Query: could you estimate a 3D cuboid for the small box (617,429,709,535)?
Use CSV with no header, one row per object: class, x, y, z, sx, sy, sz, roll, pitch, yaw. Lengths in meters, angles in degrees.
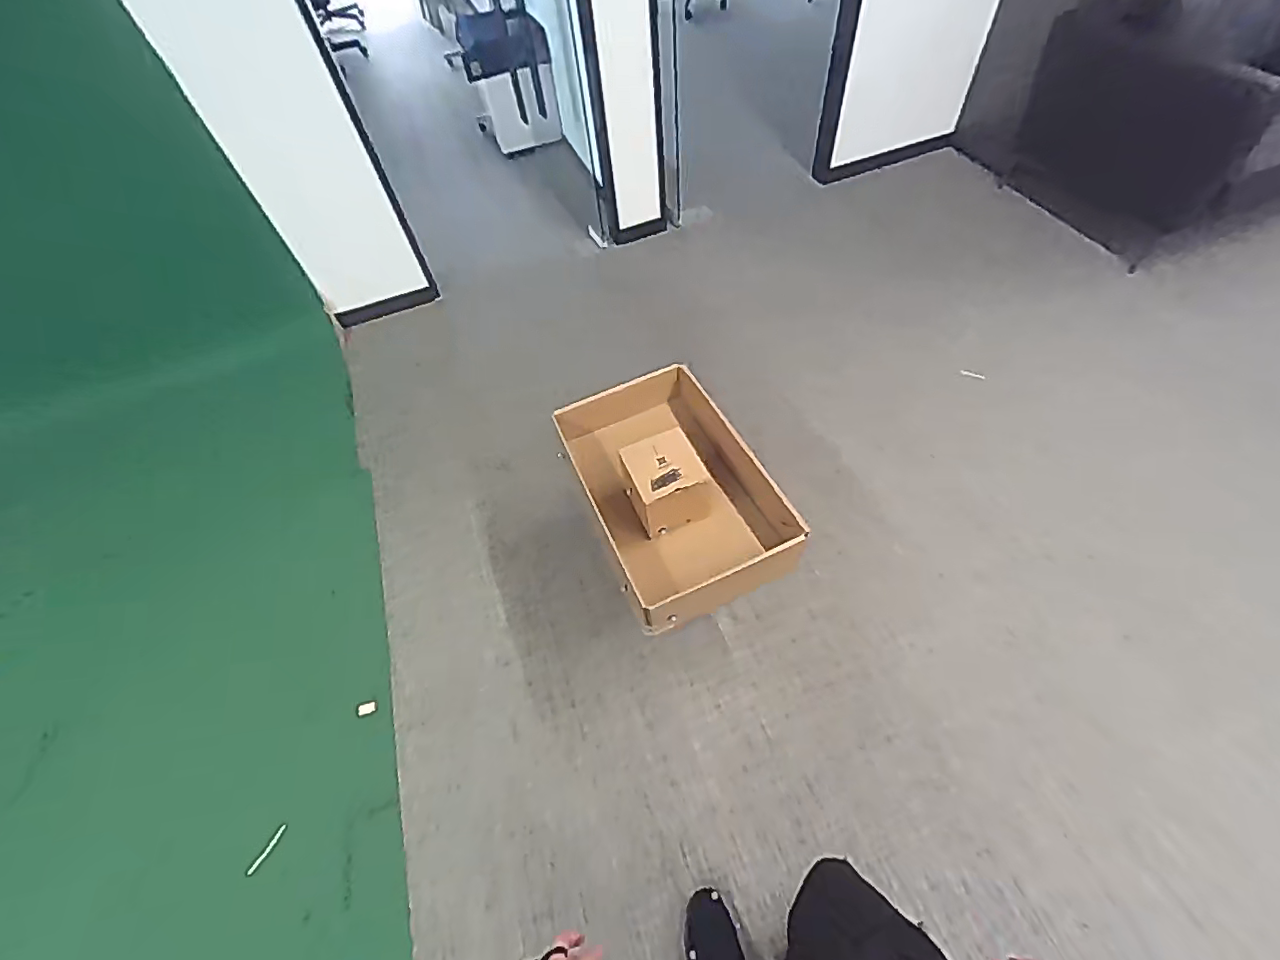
small box,0.059,0.013,1.317,0.168,0.176,0.179,-22,54,-9
